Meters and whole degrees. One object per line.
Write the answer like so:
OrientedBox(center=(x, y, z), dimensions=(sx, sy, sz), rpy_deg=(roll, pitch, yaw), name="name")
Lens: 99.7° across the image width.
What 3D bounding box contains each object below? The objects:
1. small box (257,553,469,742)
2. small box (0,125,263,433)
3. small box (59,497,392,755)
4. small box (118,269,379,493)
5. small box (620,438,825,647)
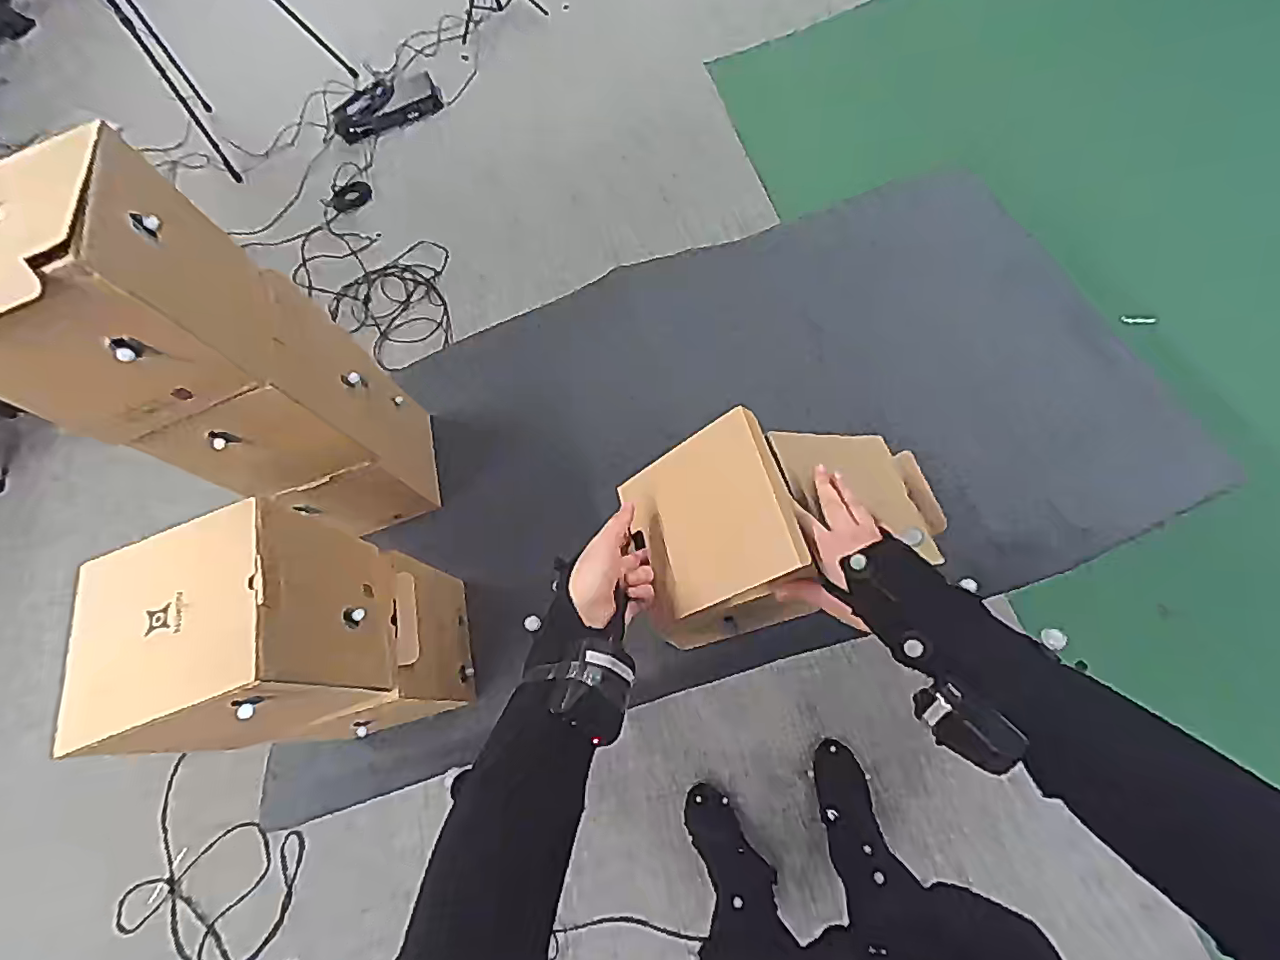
OrientedBox(center=(-0.323, 0.206, 0.659), dimensions=(0.179, 0.176, 0.168), rpy_deg=(-18, 65, 5), name="small box")
OrientedBox(center=(-0.477, -0.163, 0.488), dimensions=(0.168, 0.176, 0.179), rpy_deg=(-22, 64, 1), name="small box")
OrientedBox(center=(-0.370, 0.145, 0.515), dimensions=(0.179, 0.176, 0.168), rpy_deg=(-22, 64, 2), name="small box")
OrientedBox(center=(-0.439, -0.103, 0.634), dimensions=(0.179, 0.176, 0.168), rpy_deg=(-18, 66, 4), name="small box")
OrientedBox(center=(0.097, 0.082, 0.618), dimensions=(0.179, 0.176, 0.168), rpy_deg=(-18, 64, 8), name="small box")
